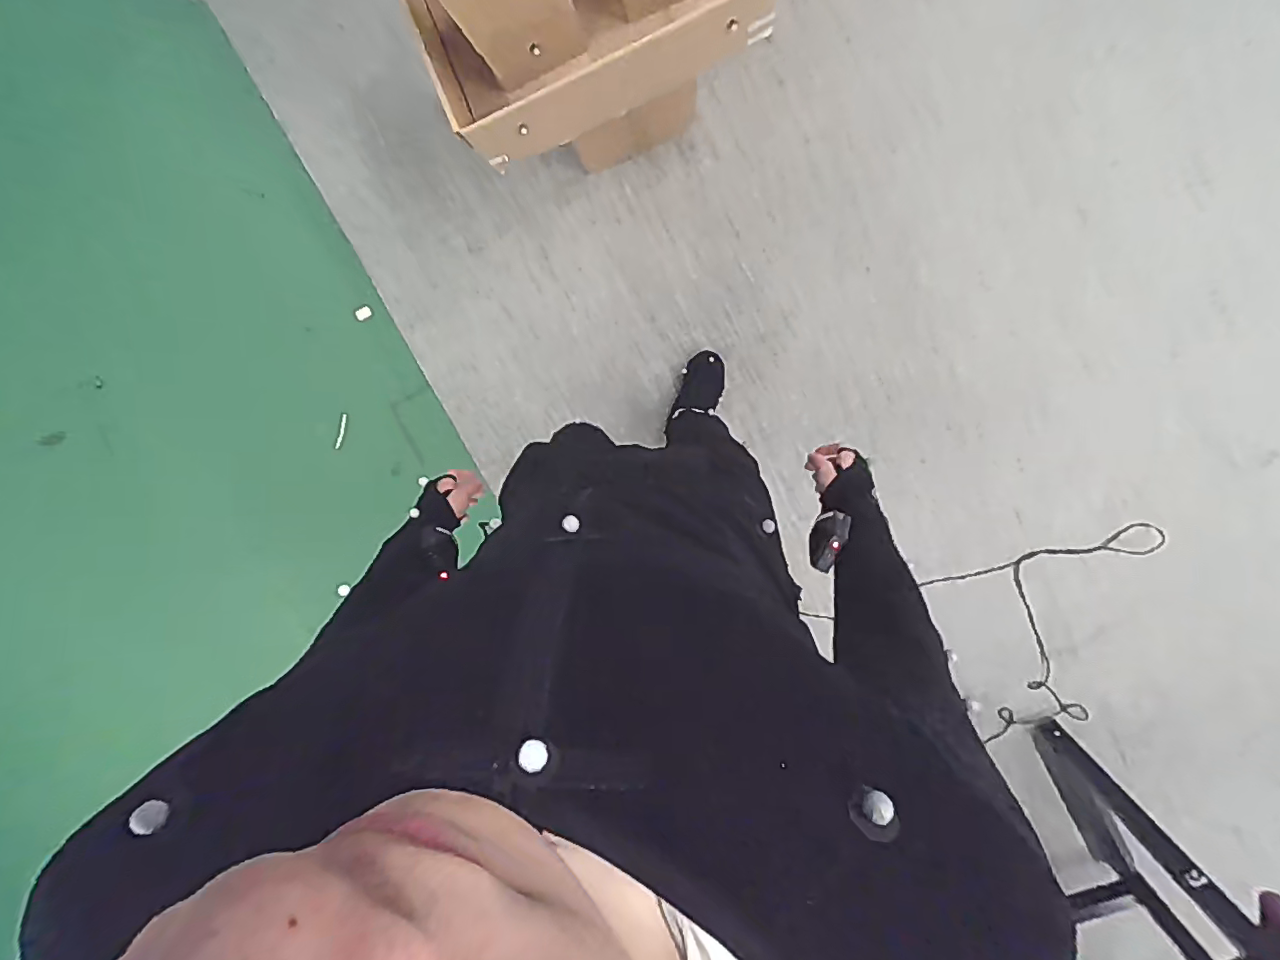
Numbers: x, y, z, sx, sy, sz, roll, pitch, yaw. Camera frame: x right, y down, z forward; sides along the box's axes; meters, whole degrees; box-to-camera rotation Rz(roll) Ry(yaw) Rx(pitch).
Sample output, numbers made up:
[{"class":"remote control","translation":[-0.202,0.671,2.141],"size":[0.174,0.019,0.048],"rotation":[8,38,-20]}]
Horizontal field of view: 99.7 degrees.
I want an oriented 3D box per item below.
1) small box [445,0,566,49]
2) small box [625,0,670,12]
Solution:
[{"class":"small box","translation":[-0.228,-0.803,0.808],"size":[0.179,0.176,0.168],"rotation":[-19,100,10]},{"class":"small box","translation":[0.027,-0.942,0.908],"size":[0.168,0.176,0.179],"rotation":[-15,101,10]}]
